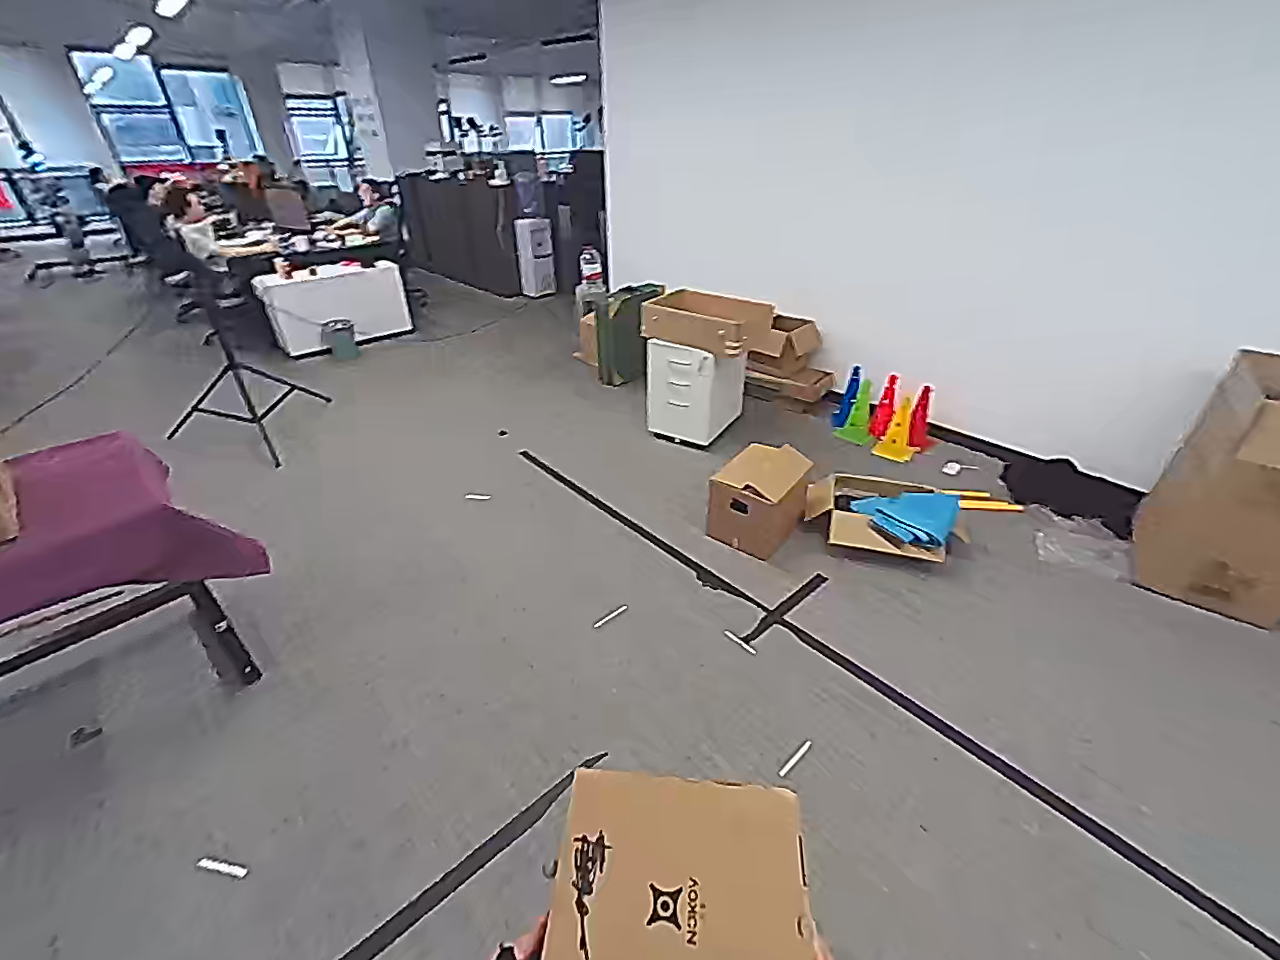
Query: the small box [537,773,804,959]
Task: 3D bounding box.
[{"bbox_3d":[0.024,0.352,0.421,0.179,0.176,0.168,2,43,5],"label":"small box"}]
